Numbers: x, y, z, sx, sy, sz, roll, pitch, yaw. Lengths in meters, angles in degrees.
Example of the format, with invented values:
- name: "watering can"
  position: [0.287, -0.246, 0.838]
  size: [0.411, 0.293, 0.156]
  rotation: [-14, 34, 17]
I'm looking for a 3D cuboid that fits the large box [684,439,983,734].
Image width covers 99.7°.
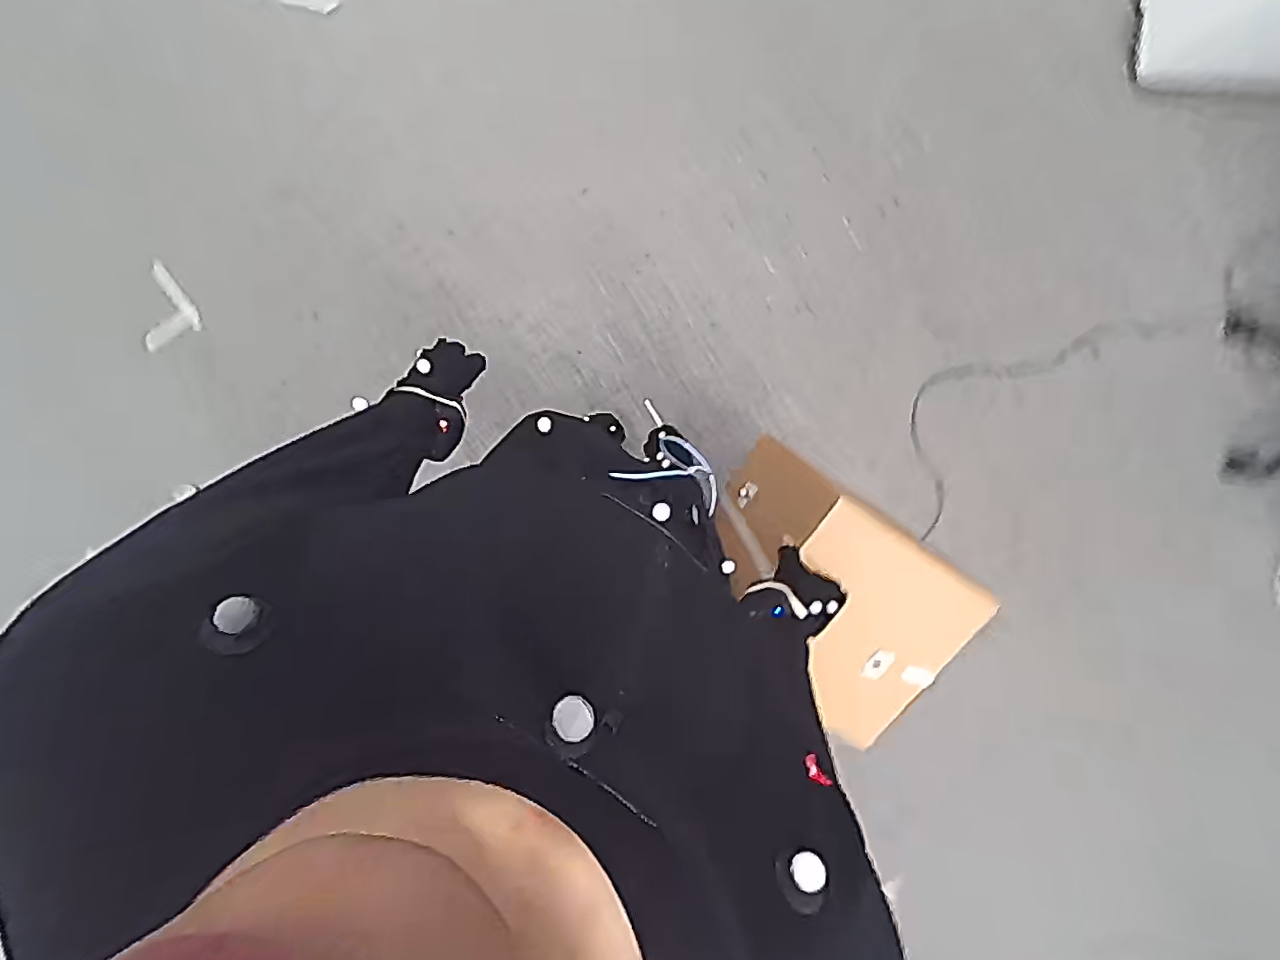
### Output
- name: "large box"
  position: [0.309, 0.166, 1.002]
  size: [0.320, 0.408, 0.320]
  rotation: [33, 103, -10]
